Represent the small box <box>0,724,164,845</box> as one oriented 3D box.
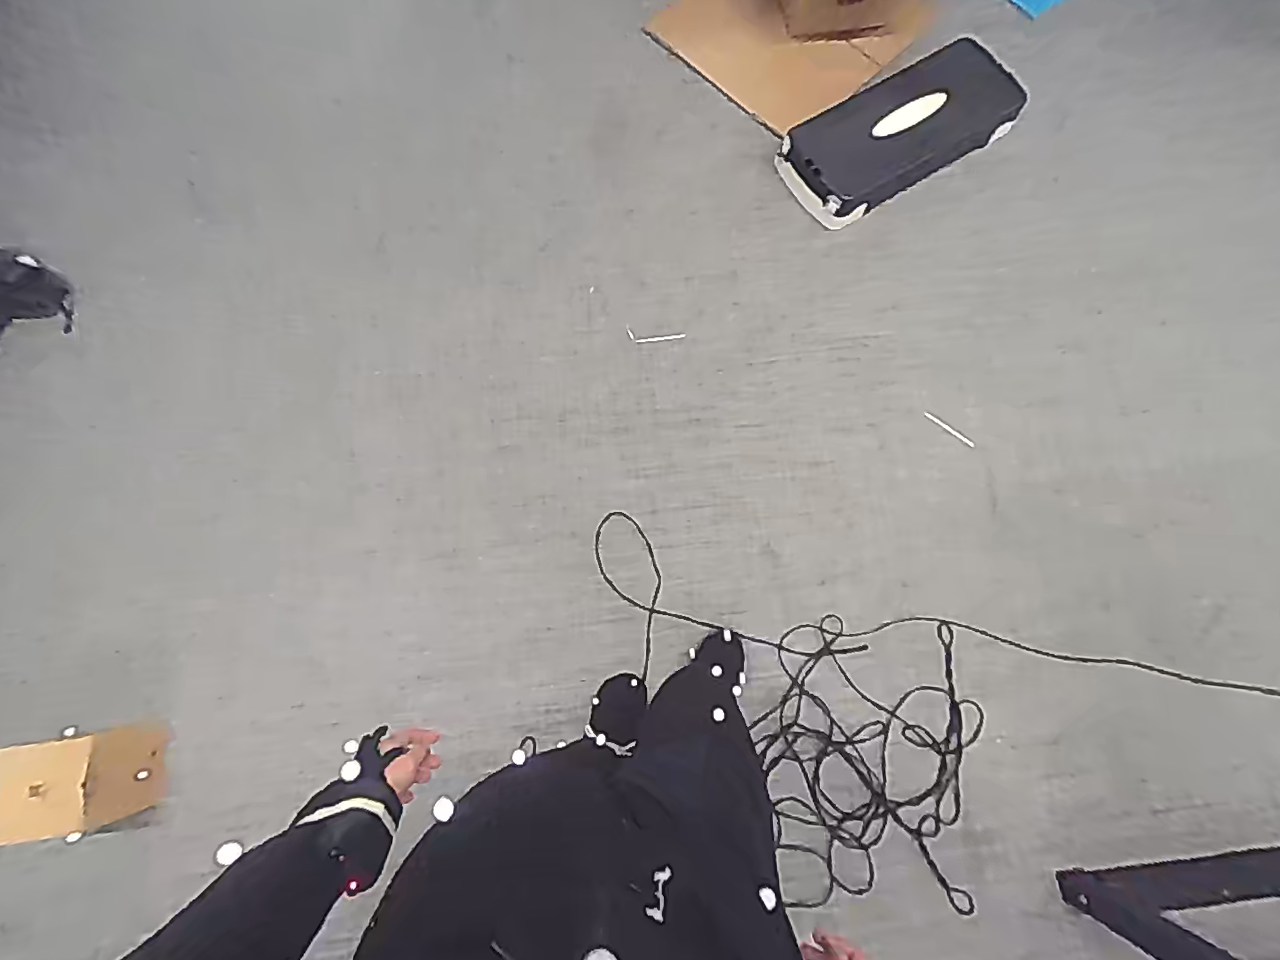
[{"bbox_3d":[-1.095,0.586,1.056,0.179,0.176,0.168,-6,76,-3],"label":"small box"}]
